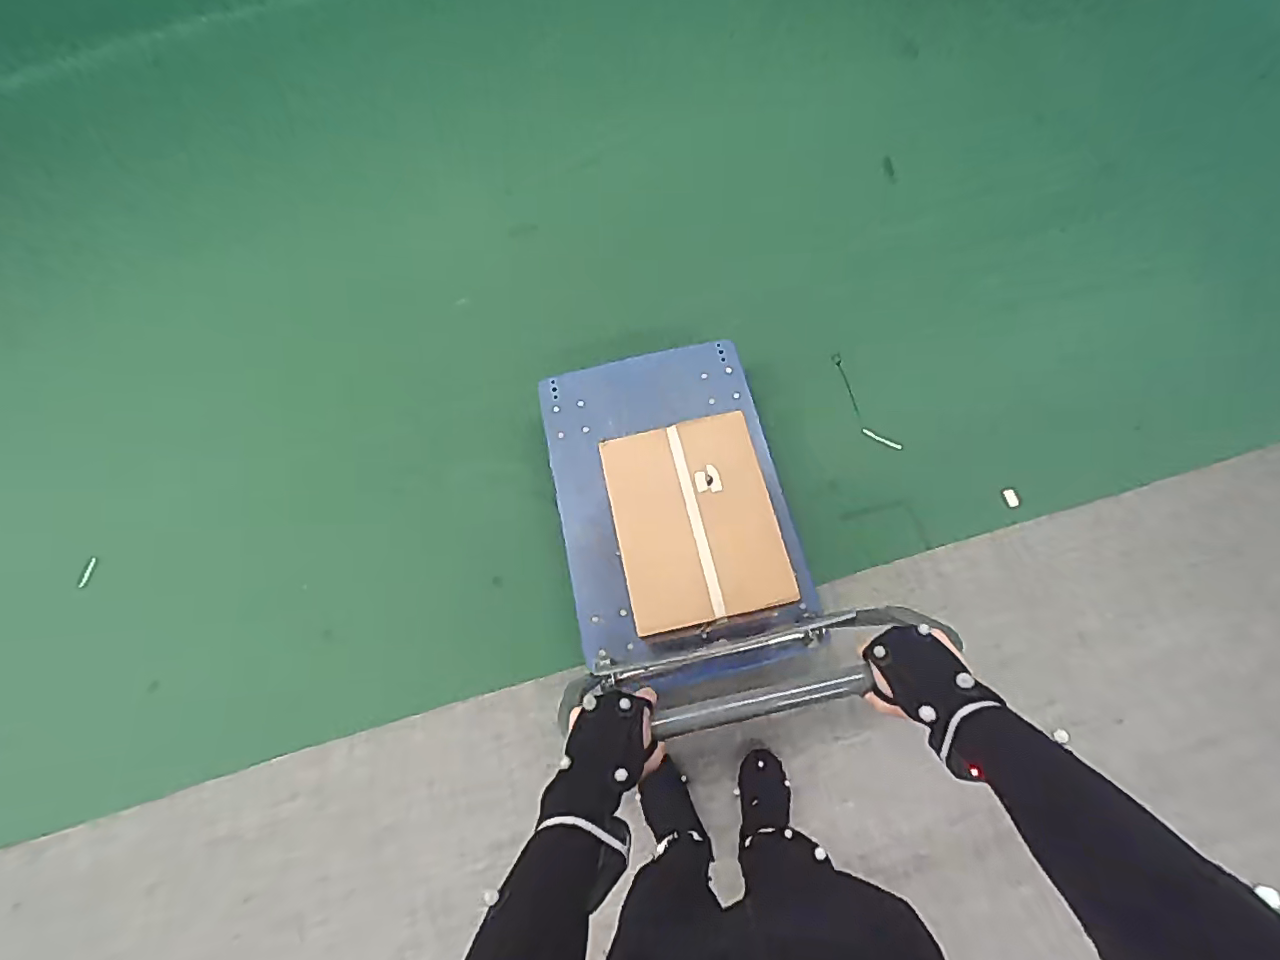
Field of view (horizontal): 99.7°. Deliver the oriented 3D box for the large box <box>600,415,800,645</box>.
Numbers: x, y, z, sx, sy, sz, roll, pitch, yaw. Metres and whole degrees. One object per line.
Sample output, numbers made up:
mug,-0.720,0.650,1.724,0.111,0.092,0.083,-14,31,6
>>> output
large box,0.119,0.127,1.208,0.320,0.320,0.408,-13,70,-1
